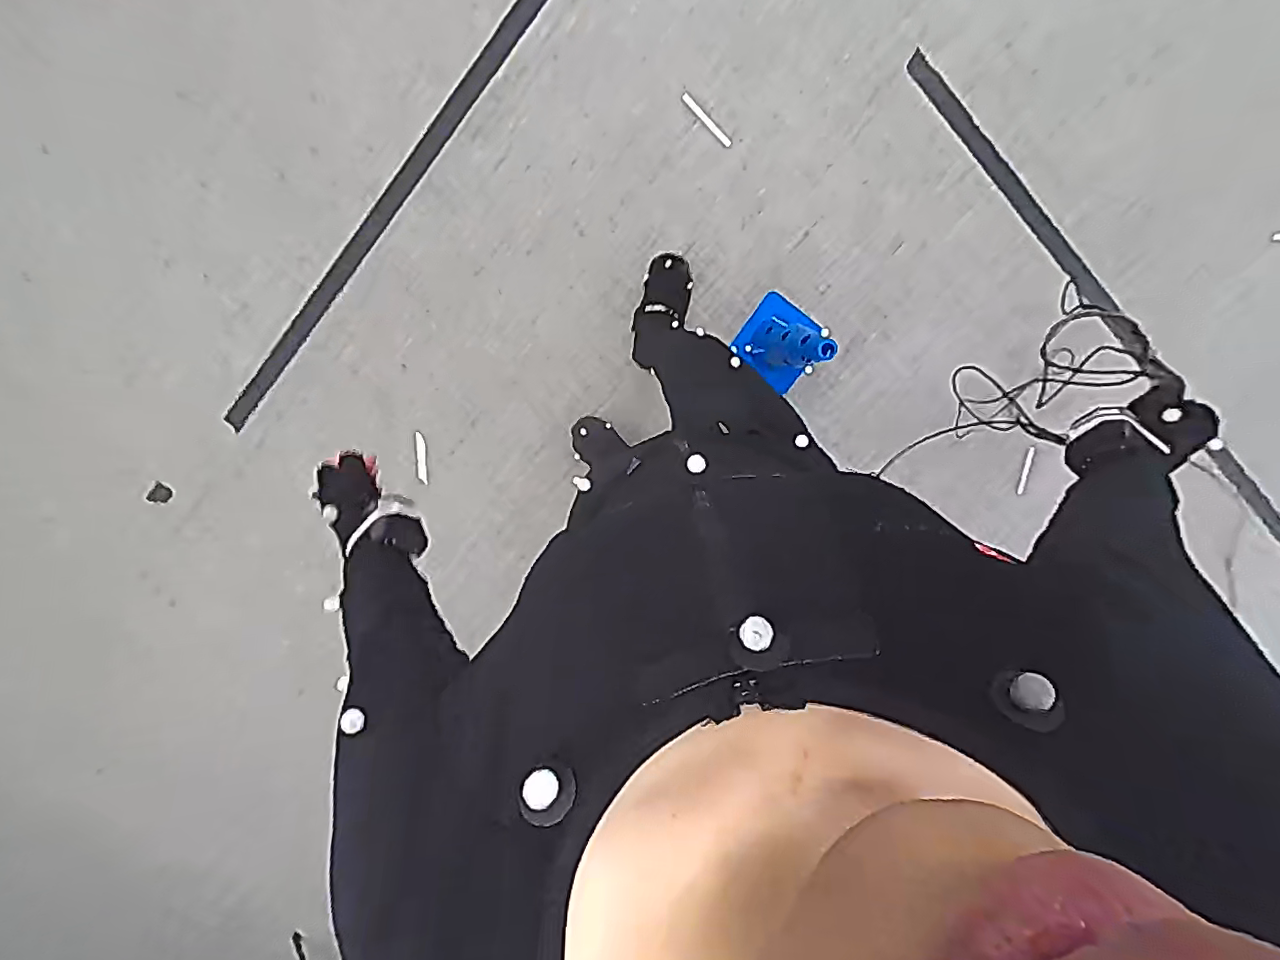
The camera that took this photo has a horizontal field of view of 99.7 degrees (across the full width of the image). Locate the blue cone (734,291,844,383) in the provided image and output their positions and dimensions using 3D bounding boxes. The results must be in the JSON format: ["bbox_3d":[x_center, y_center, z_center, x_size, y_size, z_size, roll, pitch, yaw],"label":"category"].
[{"bbox_3d":[0.363,-0.320,1.225,0.193,0.380,0.192,35,101,-11],"label":"blue cone"}]
